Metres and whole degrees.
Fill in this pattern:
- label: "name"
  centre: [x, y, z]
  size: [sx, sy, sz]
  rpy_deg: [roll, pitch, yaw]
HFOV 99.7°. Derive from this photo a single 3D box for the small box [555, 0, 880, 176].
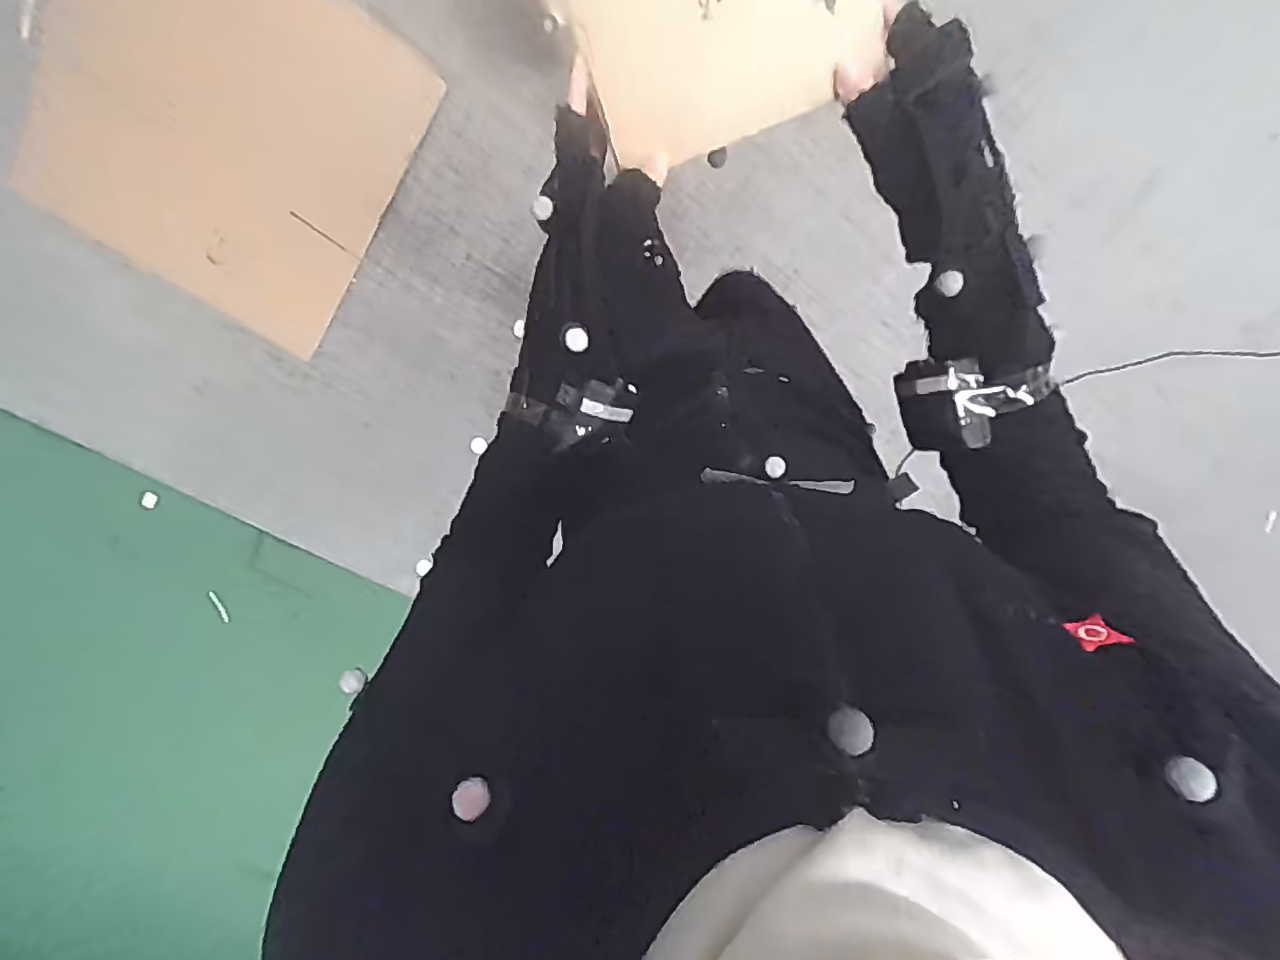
- label: "small box"
  centre: [0.040, -0.335, 0.382]
  size: [0.179, 0.176, 0.168]
  rpy_deg: [-19, 115, 11]
